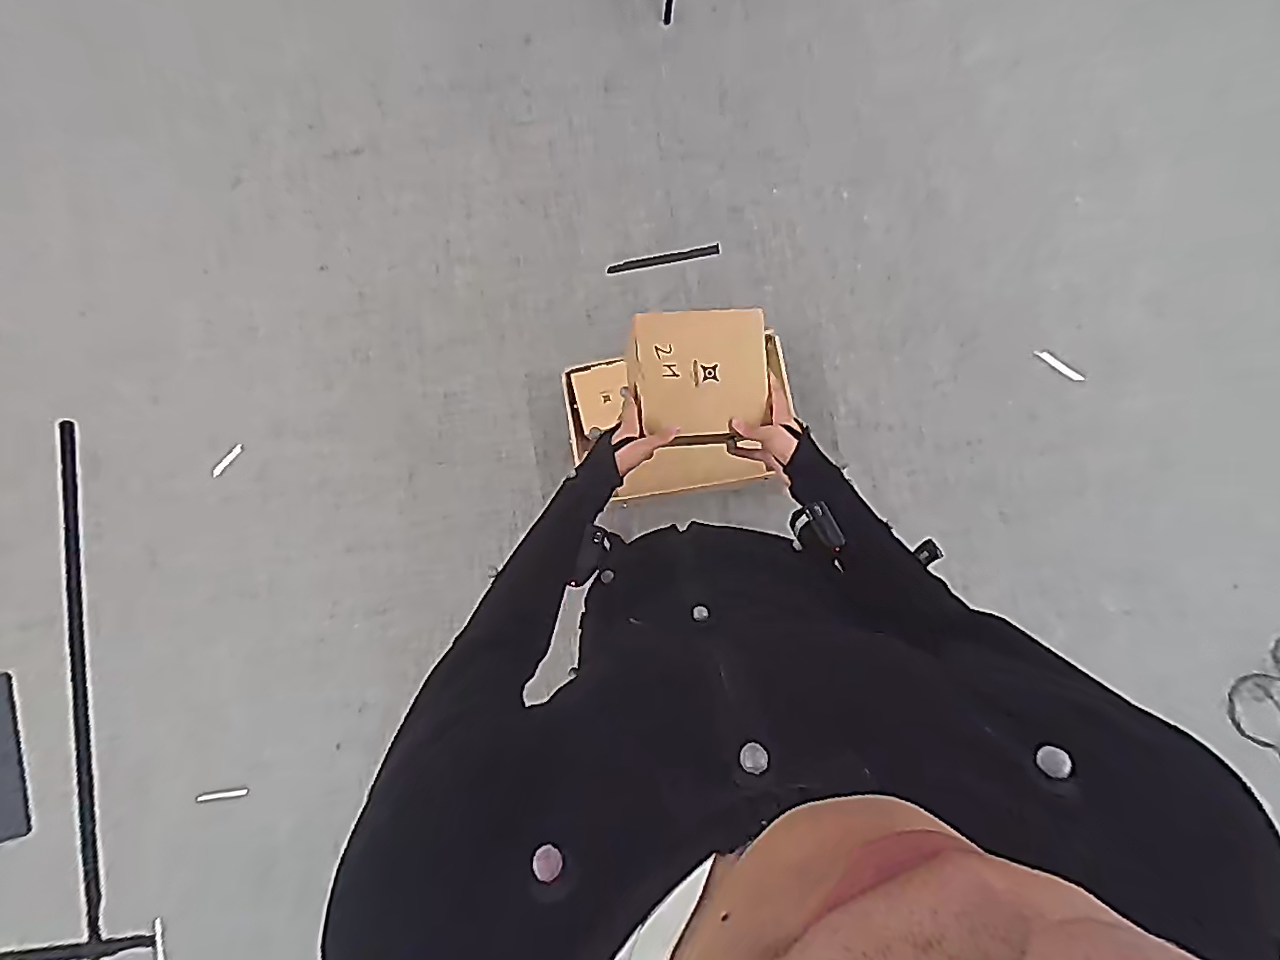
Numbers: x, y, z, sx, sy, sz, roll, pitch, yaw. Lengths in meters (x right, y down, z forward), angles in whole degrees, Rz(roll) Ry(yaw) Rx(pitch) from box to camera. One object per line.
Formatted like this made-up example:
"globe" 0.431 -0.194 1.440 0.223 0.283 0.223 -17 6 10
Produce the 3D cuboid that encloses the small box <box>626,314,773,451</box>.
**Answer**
"small box" 0.077 -0.132 0.781 0.179 0.176 0.168 -4 89 -5
